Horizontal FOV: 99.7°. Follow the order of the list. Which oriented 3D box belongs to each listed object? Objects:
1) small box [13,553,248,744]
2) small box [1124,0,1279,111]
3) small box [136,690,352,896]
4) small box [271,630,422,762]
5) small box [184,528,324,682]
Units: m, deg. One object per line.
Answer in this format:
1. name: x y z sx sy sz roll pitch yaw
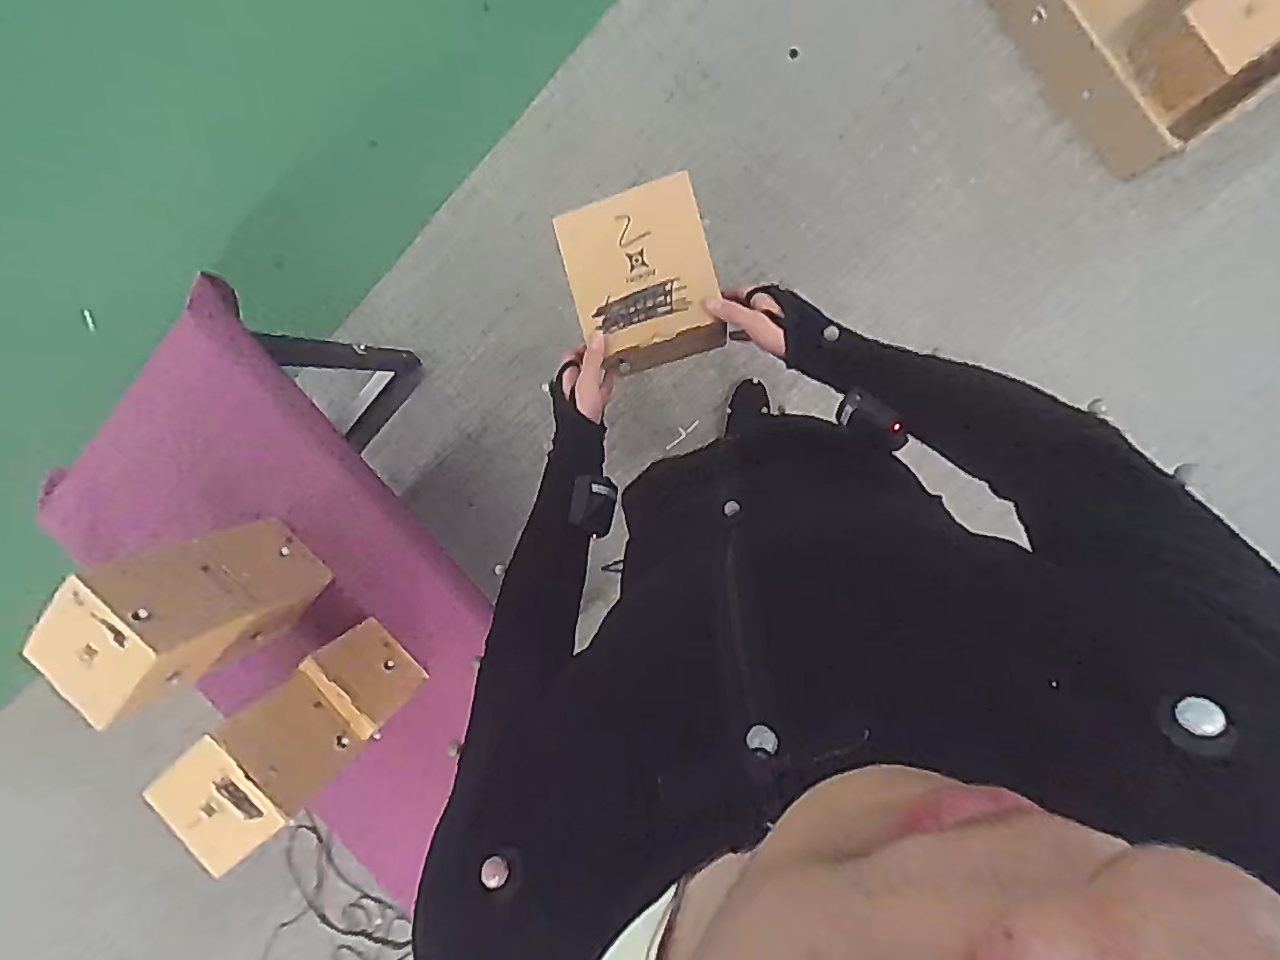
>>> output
1. small box: -0.743 0.239 0.806 0.168 0.176 0.179 43 104 0
2. small box: 1.216 -0.954 1.158 0.179 0.176 0.168 -38 90 13
3. small box: -0.576 0.456 0.815 0.179 0.176 0.168 -41 90 13
4. small box: -0.532 0.406 0.969 0.168 0.176 0.179 45 102 0
5. small box: -0.715 0.214 0.966 0.168 0.176 0.179 44 103 0
